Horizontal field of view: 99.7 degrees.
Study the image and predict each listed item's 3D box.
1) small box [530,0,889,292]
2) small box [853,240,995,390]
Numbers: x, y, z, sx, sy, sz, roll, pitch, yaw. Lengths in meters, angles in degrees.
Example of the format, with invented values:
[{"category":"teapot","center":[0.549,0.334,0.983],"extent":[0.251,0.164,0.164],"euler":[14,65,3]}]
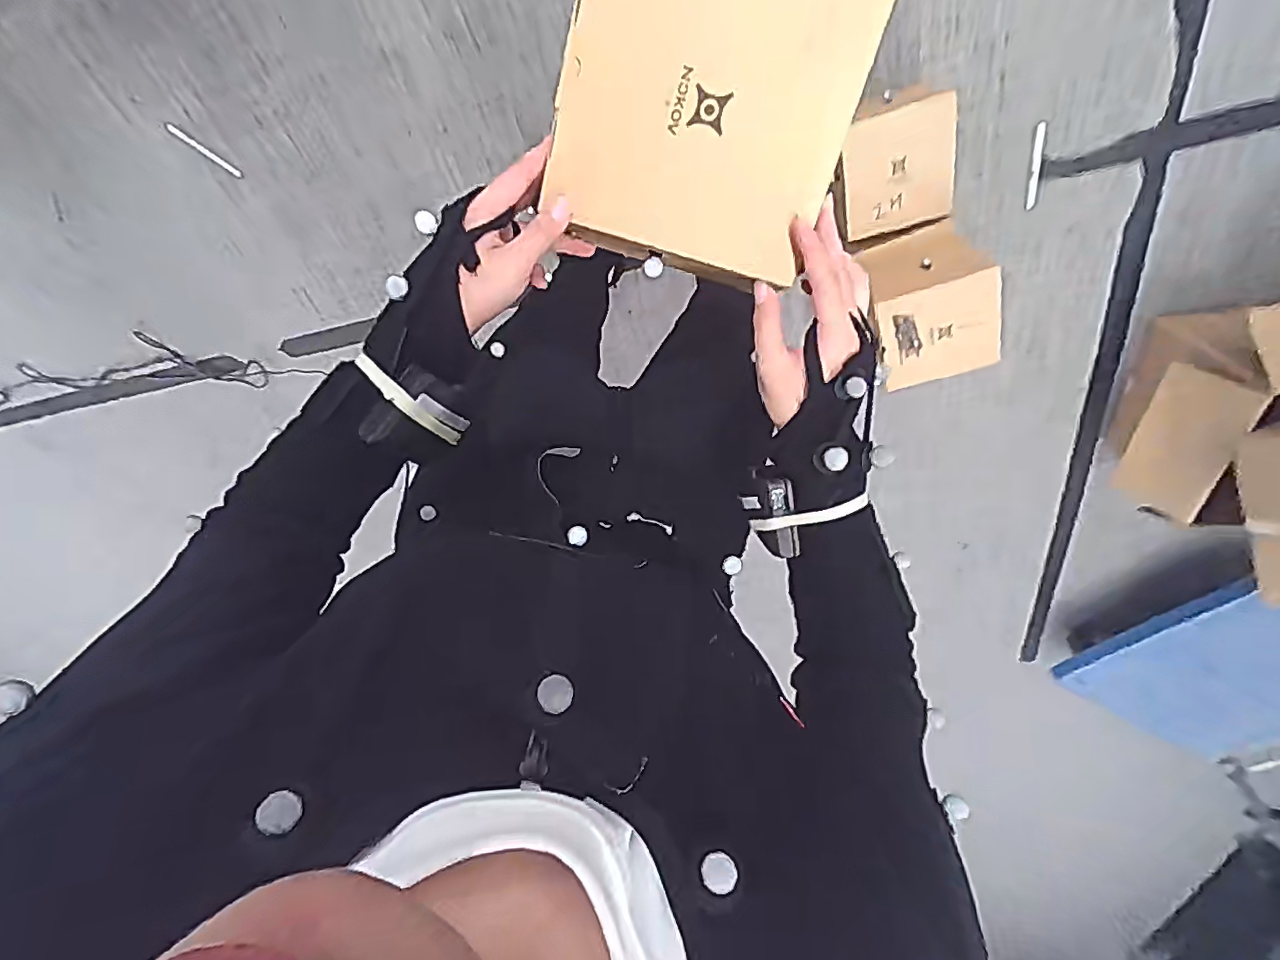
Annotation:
[{"category":"small box","center":[0.042,-0.246,0.396],"extent":[0.179,0.176,0.168],"euler":[17,109,2]},{"category":"small box","center":[0.472,-0.281,0.918],"extent":[0.179,0.176,0.168],"euler":[-14,126,16]}]
